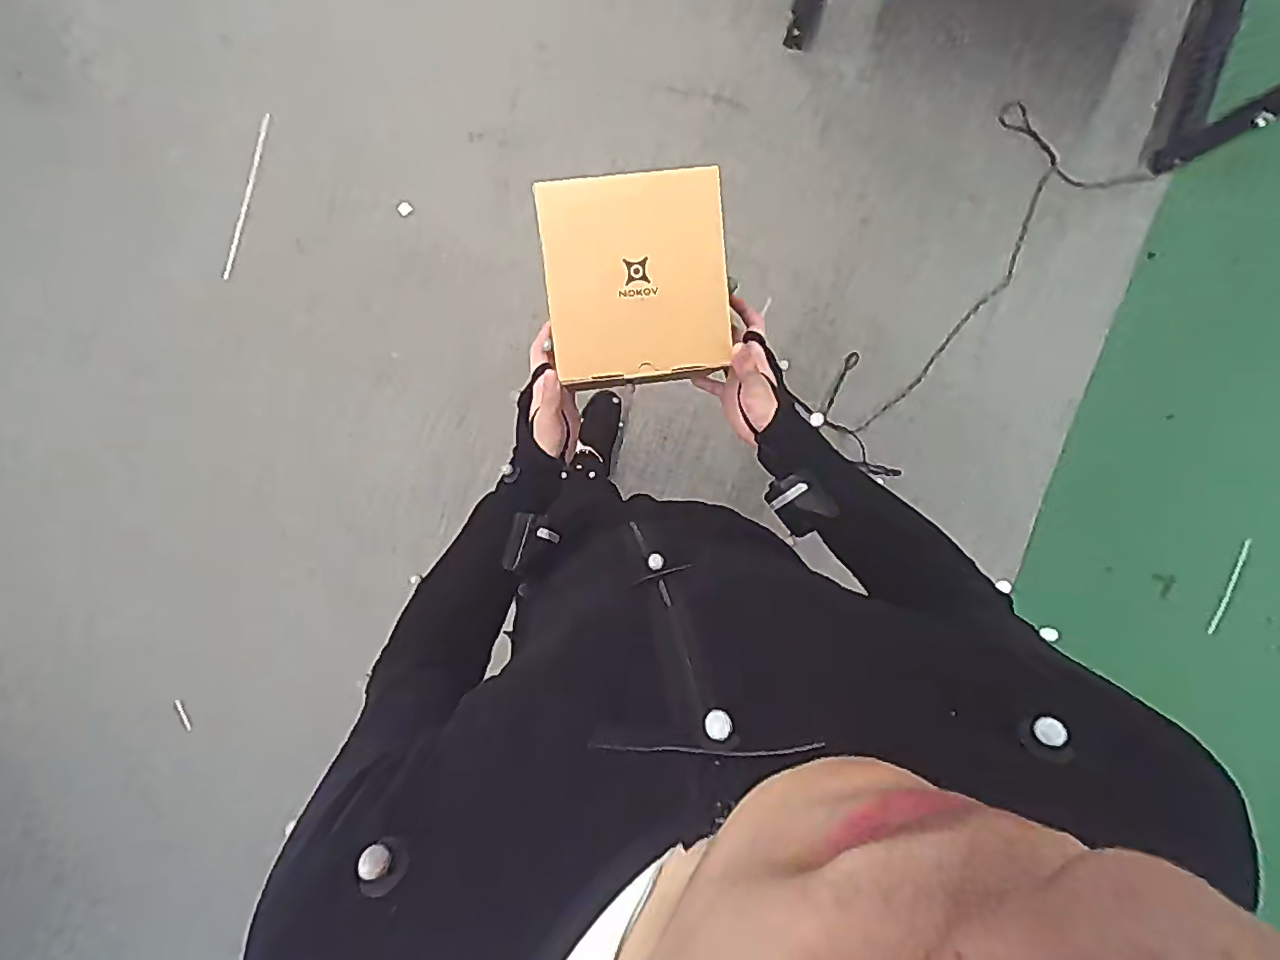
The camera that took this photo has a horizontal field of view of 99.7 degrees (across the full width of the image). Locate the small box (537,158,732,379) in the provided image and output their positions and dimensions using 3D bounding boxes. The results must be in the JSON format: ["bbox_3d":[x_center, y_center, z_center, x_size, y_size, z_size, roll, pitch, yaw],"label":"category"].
[{"bbox_3d":[-0.007,-0.202,0.562,0.168,0.176,0.179,-6,100,-2],"label":"small box"}]
